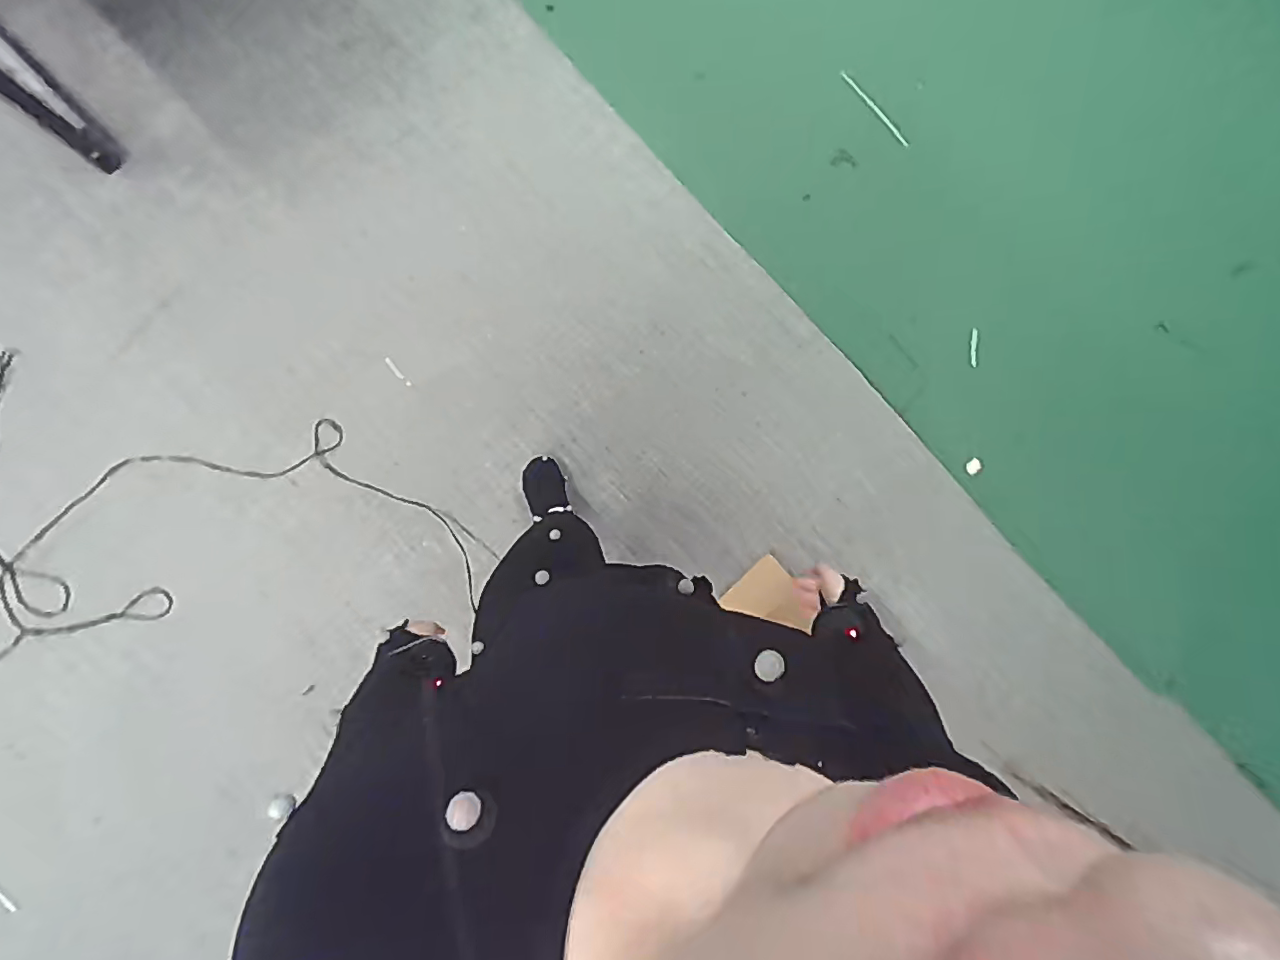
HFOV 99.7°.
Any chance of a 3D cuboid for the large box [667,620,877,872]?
[{"bbox_3d":[0.329,0.621,1.345,0.408,0.320,0.320,-44,90,-7],"label":"large box"}]
